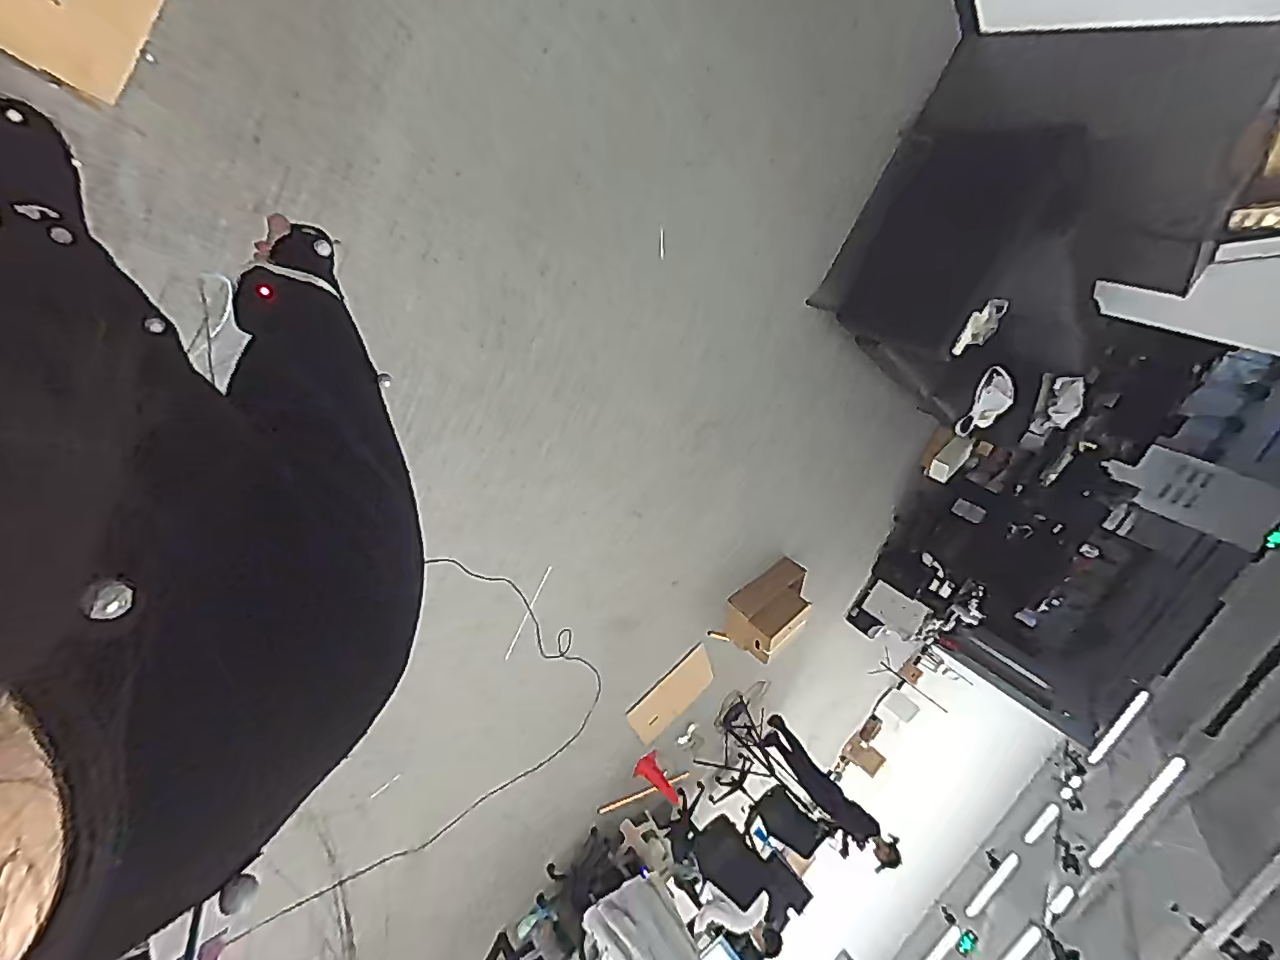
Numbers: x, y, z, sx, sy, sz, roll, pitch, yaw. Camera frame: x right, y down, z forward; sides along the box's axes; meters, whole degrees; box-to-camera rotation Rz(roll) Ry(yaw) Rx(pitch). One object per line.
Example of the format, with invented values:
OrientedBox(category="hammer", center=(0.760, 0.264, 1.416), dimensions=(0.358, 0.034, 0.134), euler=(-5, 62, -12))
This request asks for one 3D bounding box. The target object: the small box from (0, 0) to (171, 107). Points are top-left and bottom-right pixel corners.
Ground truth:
OrientedBox(category="small box", center=(-0.667, -0.567, 0.613), dimensions=(0.168, 0.176, 0.179), euler=(24, 98, -53))
